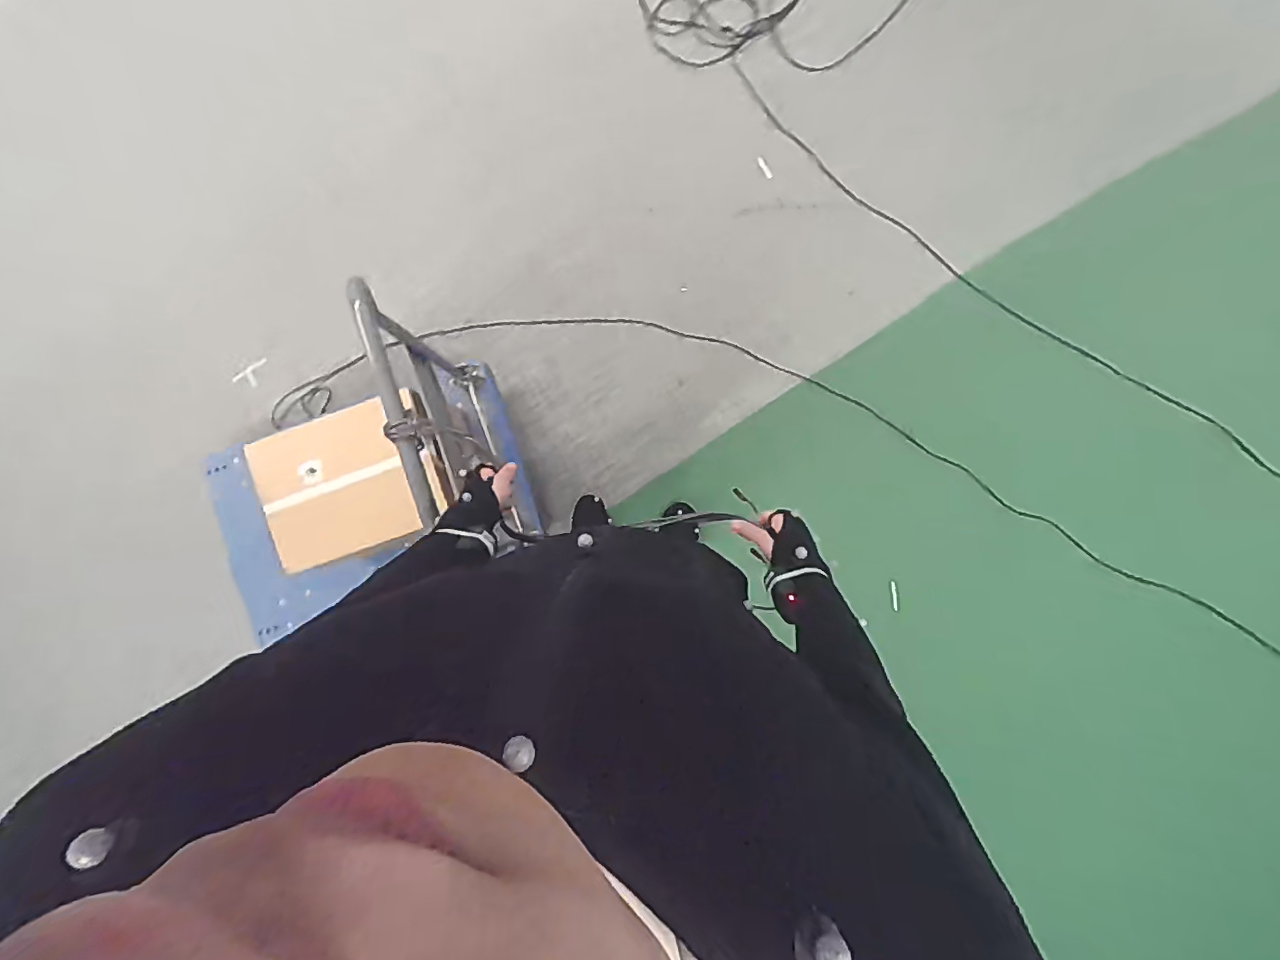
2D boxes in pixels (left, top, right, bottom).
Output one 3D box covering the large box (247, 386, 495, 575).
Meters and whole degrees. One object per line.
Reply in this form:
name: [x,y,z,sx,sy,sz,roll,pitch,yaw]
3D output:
large box: [-0.636,0.000,1.343,0.408,0.320,0.320,-20,88,3]
